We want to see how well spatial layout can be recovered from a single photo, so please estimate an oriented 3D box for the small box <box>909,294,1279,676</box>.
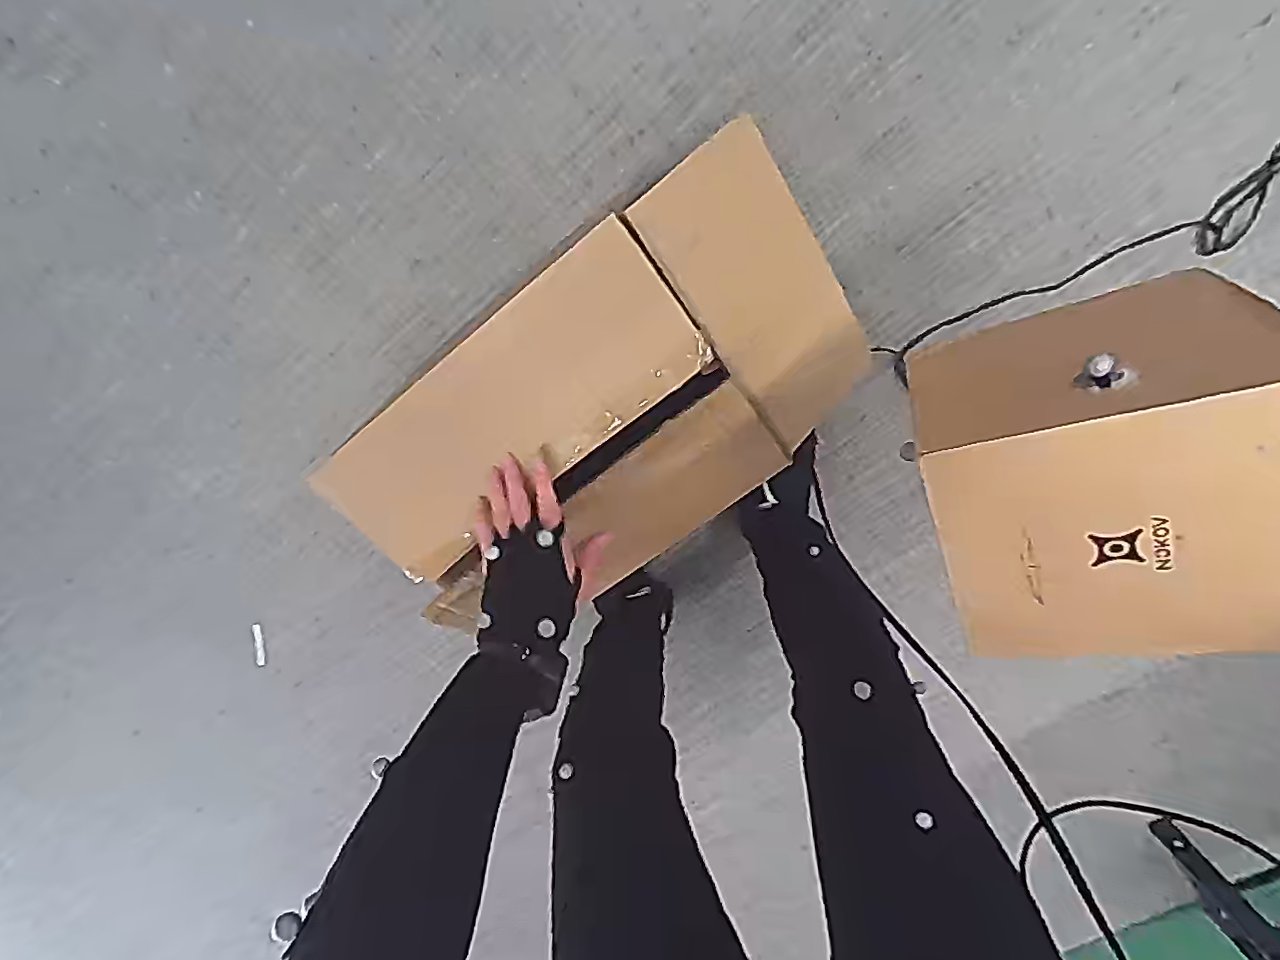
[{"bbox_3d":[0.283,0.001,0.344,0.179,0.176,0.168,-10,116,29],"label":"small box"}]
